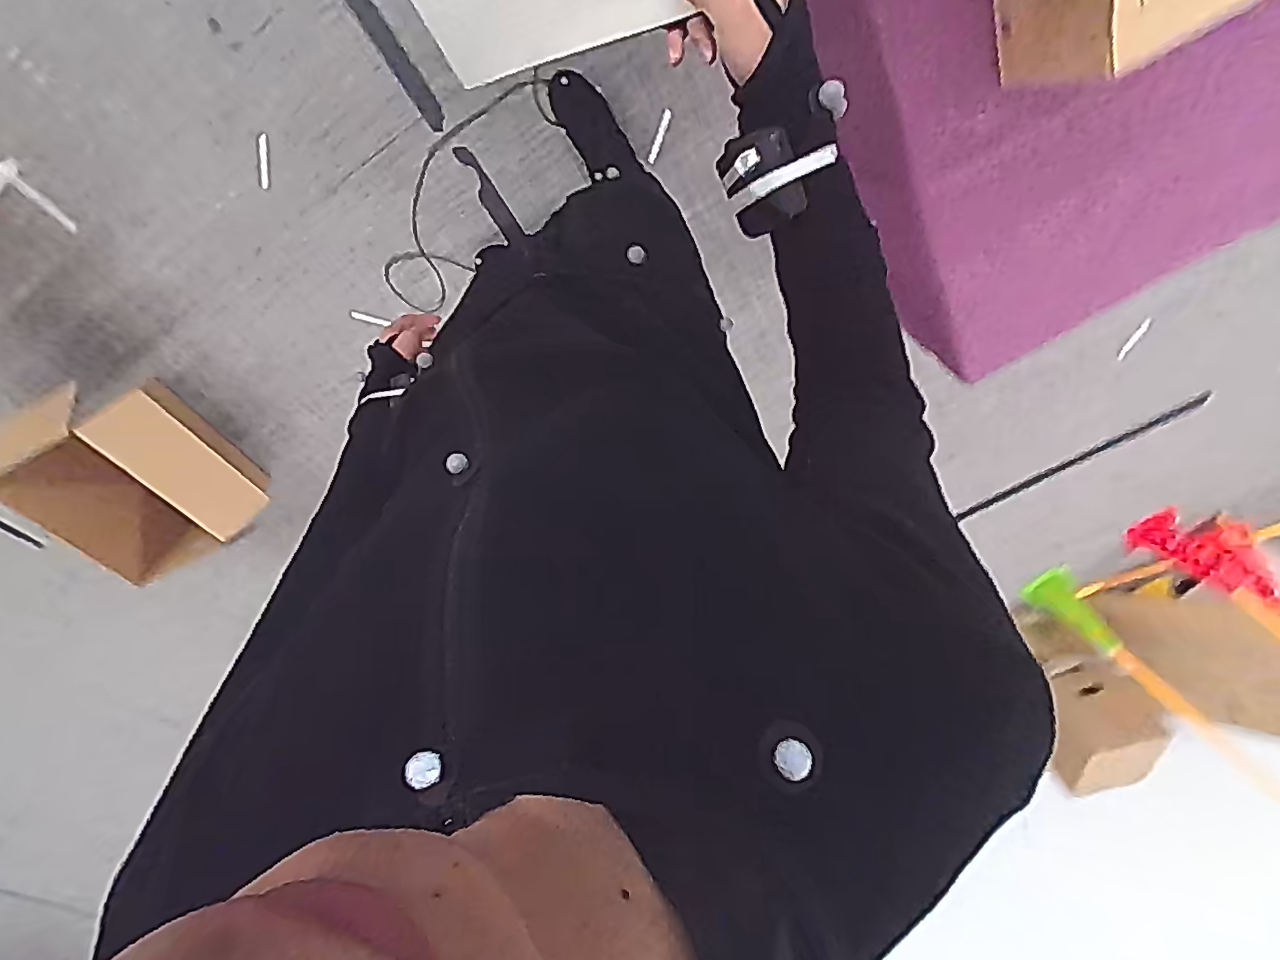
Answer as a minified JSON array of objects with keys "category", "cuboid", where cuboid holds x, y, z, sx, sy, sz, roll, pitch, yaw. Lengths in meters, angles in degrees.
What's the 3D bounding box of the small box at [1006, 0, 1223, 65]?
[{"category":"small box","cuboid":[0.496,-0.552,0.539,0.179,0.176,0.168,-28,124,10]}]
